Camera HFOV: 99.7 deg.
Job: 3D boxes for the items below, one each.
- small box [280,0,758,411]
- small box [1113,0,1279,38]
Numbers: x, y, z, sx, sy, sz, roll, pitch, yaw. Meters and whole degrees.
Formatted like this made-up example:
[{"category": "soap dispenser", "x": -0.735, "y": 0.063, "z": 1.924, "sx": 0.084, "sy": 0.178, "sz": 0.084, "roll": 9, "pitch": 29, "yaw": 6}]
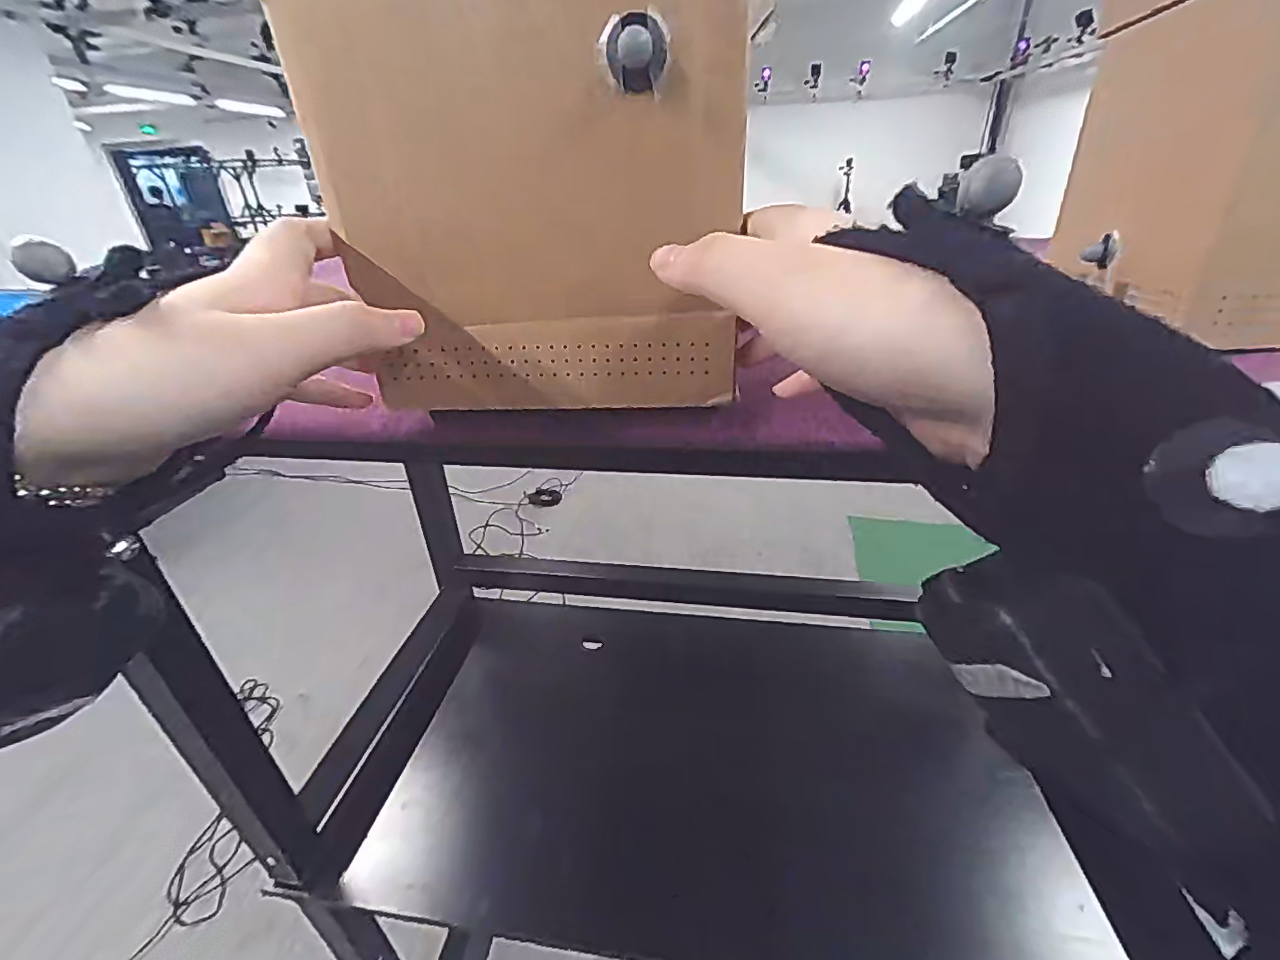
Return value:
[{"category": "small box", "x": -0.036, "y": -0.142, "z": 0.289, "sx": 0.179, "sy": 0.176, "sz": 0.168, "roll": 0, "pitch": 29, "yaw": 4}, {"category": "small box", "x": 0.361, "y": -0.321, "z": 0.228, "sx": 0.168, "sy": 0.176, "sz": 0.179, "roll": 2, "pitch": 28, "yaw": 11}]
